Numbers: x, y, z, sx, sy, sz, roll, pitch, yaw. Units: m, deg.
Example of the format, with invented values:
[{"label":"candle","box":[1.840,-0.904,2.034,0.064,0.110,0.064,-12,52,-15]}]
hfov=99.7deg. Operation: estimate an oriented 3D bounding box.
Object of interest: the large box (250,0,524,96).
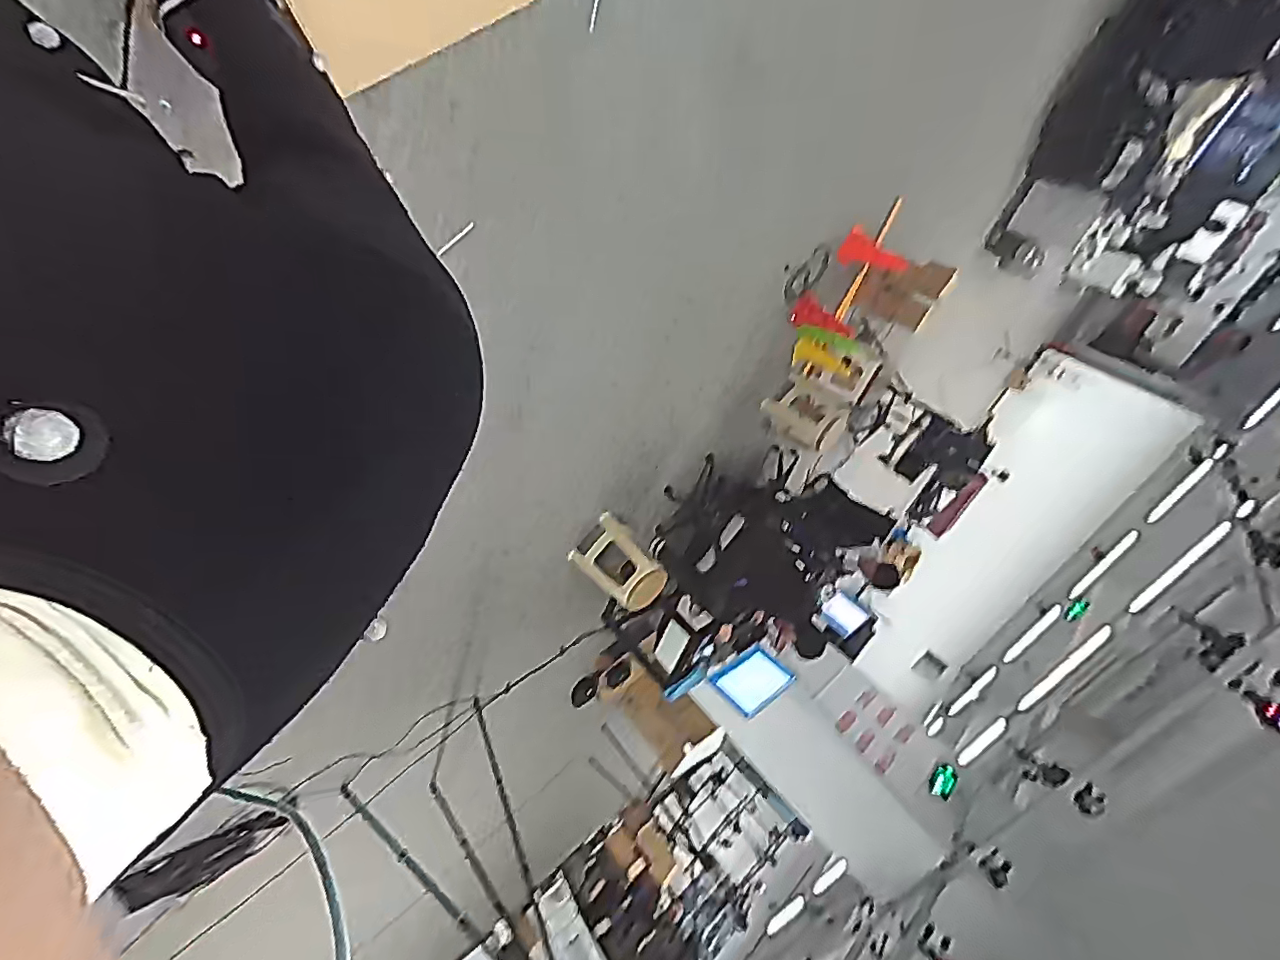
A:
[{"label":"large box","box":[-0.465,-0.917,0.883,0.408,0.320,0.320,-39,149,-13]}]
